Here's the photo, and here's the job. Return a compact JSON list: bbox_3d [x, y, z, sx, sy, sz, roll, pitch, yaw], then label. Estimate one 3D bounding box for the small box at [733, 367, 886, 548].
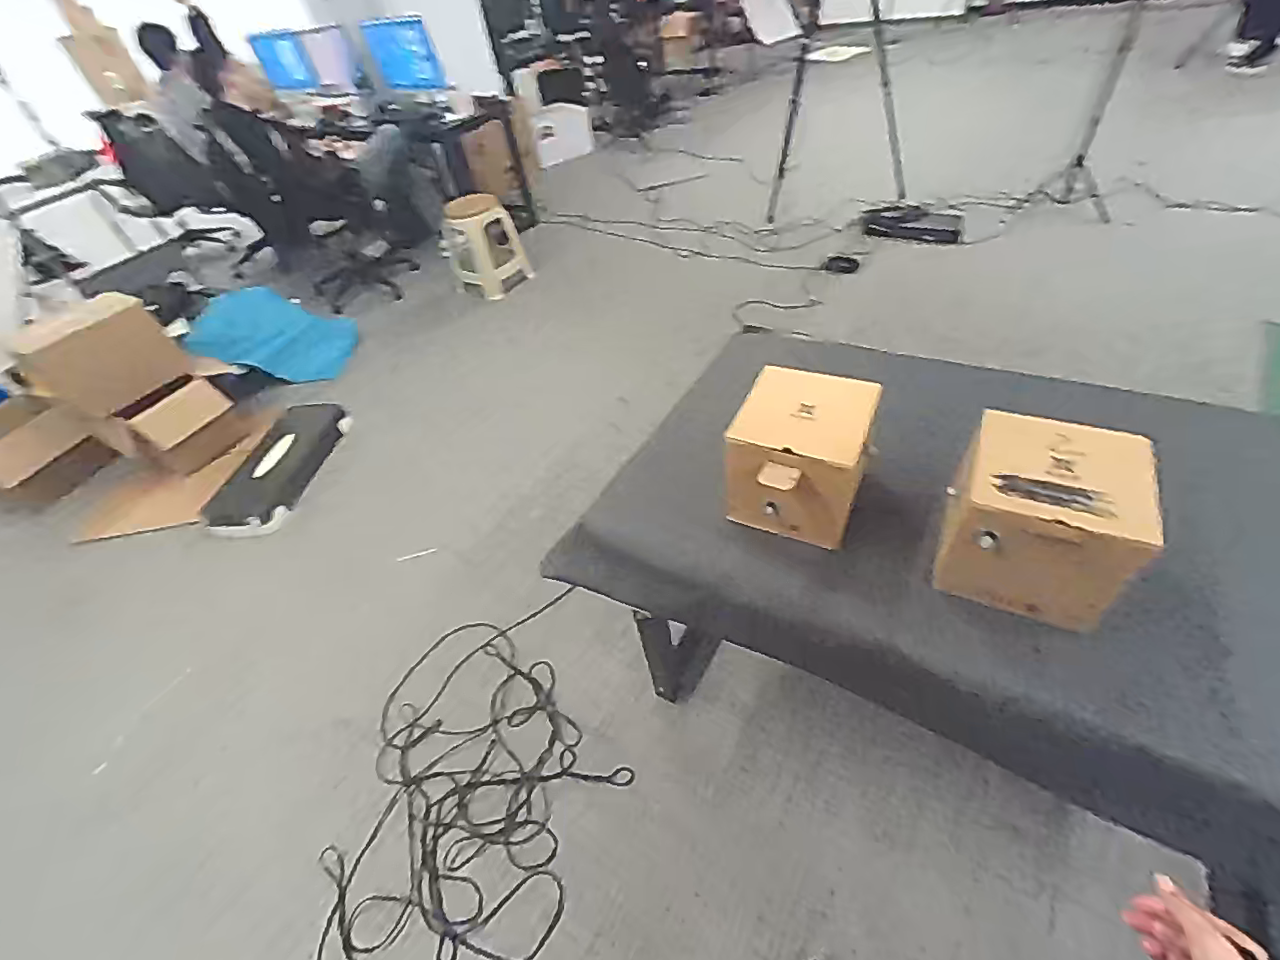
[{"bbox_3d":[0.238,-0.034,0.784,0.168,0.176,0.179,16,51,24],"label":"small box"}]
